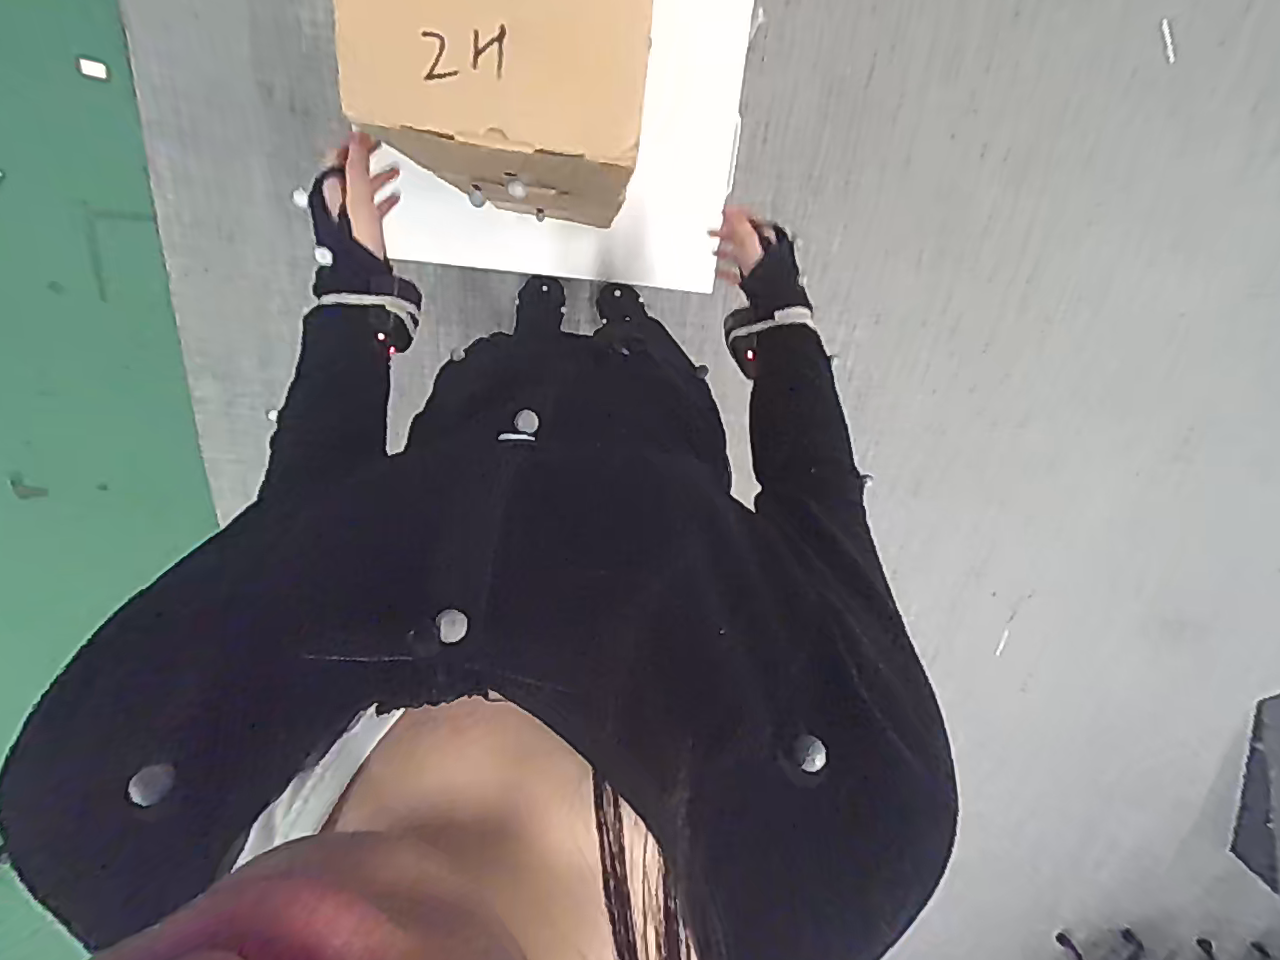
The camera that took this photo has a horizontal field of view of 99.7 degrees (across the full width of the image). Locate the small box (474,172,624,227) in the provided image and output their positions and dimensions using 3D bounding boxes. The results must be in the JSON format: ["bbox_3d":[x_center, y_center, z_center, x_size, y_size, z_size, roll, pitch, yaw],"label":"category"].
[{"bbox_3d":[-0.097,-0.418,0.649,0.168,0.176,0.179,6,109,-8],"label":"small box"}]

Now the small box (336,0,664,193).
[{"bbox_3d":[-0.074,-0.301,0.342,0.168,0.176,0.179,5,110,-7],"label":"small box"}]
